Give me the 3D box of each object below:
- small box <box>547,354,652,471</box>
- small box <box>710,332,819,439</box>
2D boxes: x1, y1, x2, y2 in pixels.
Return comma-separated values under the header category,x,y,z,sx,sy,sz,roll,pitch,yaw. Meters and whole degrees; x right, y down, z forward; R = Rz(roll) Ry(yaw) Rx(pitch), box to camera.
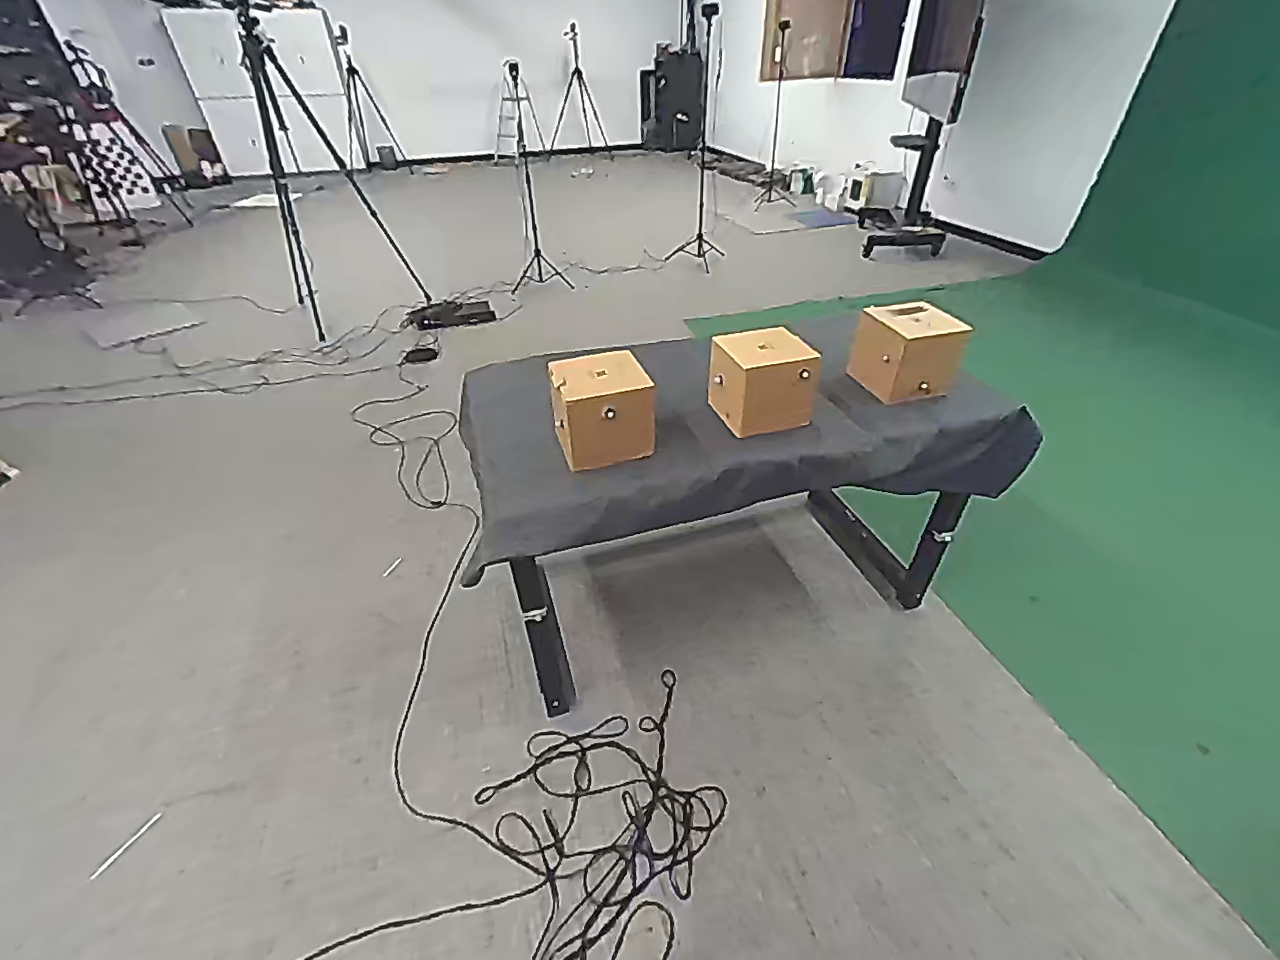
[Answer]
category,x,y,z,sx,sy,sz,roll,pitch,yaw
small box,-0.081,-0.136,1.097,0.179,0.176,0.168,-11,40,-15
small box,0.260,-0.205,1.180,0.179,0.176,0.168,-11,39,-13
